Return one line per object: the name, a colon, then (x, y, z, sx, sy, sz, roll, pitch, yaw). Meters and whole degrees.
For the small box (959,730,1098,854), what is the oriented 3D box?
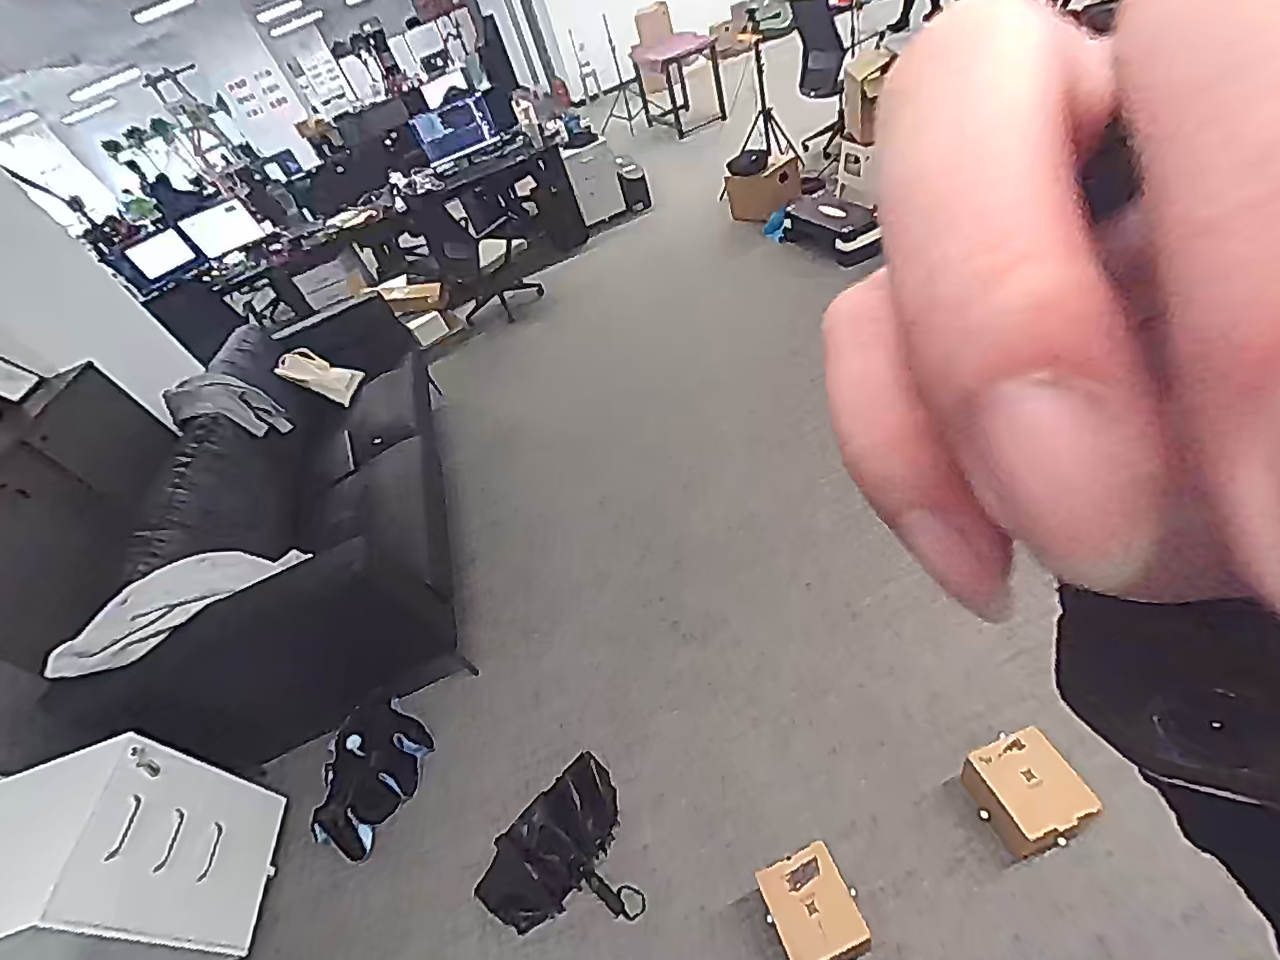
small box: (0.835, 0.689, 1.183, 0.168, 0.176, 0.179, -24, 42, 0)

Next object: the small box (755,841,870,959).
small box: (0.366, 0.919, 1.154, 0.168, 0.176, 0.179, -26, 43, -2)
